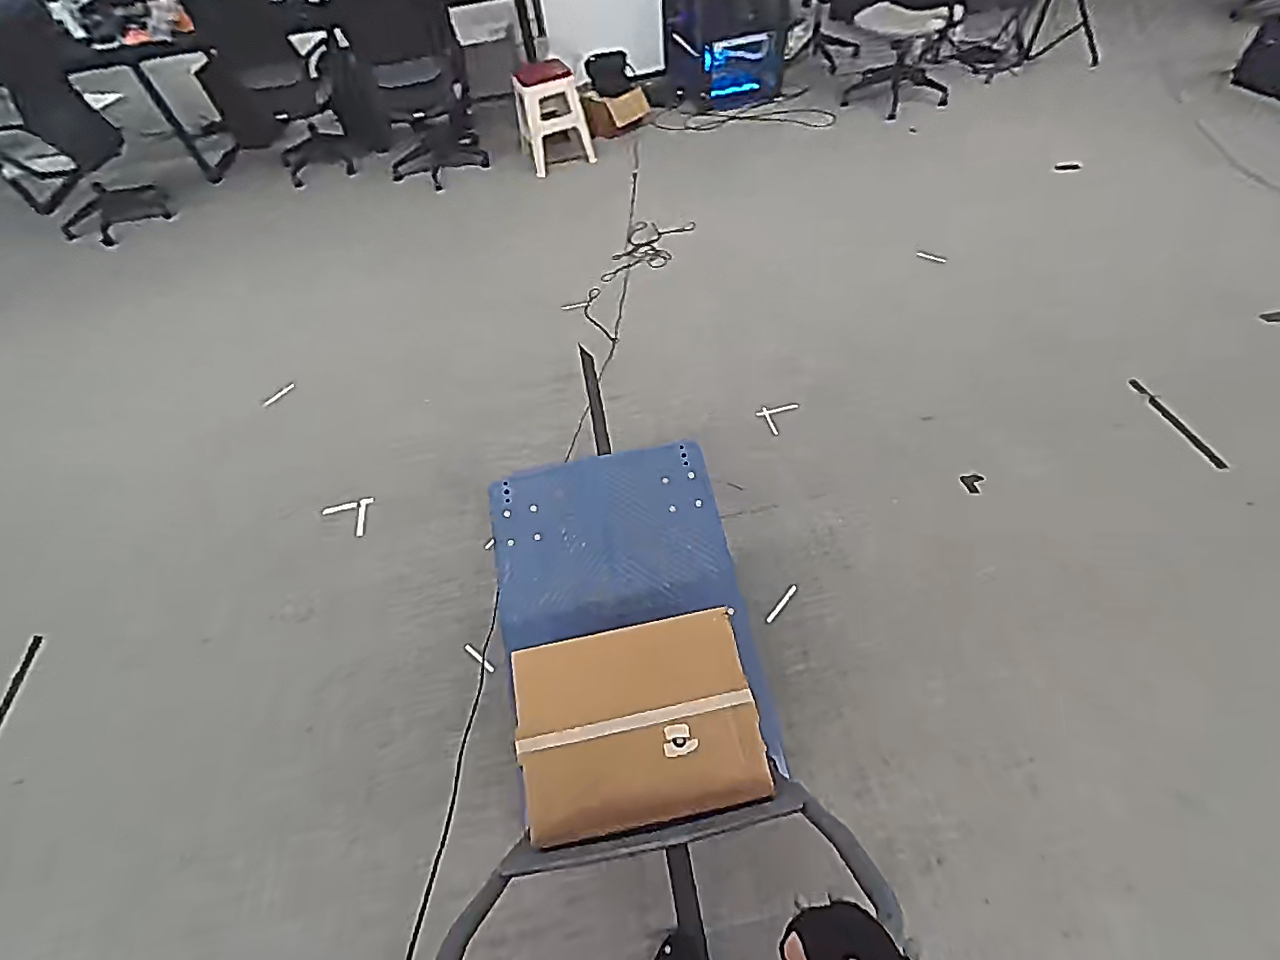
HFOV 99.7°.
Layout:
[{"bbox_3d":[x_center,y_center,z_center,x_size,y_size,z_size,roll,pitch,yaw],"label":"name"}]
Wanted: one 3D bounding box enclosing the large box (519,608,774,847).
[{"bbox_3d":[0.004,0.480,1.084,0.408,0.320,0.320,-12,67,-3],"label":"large box"}]
